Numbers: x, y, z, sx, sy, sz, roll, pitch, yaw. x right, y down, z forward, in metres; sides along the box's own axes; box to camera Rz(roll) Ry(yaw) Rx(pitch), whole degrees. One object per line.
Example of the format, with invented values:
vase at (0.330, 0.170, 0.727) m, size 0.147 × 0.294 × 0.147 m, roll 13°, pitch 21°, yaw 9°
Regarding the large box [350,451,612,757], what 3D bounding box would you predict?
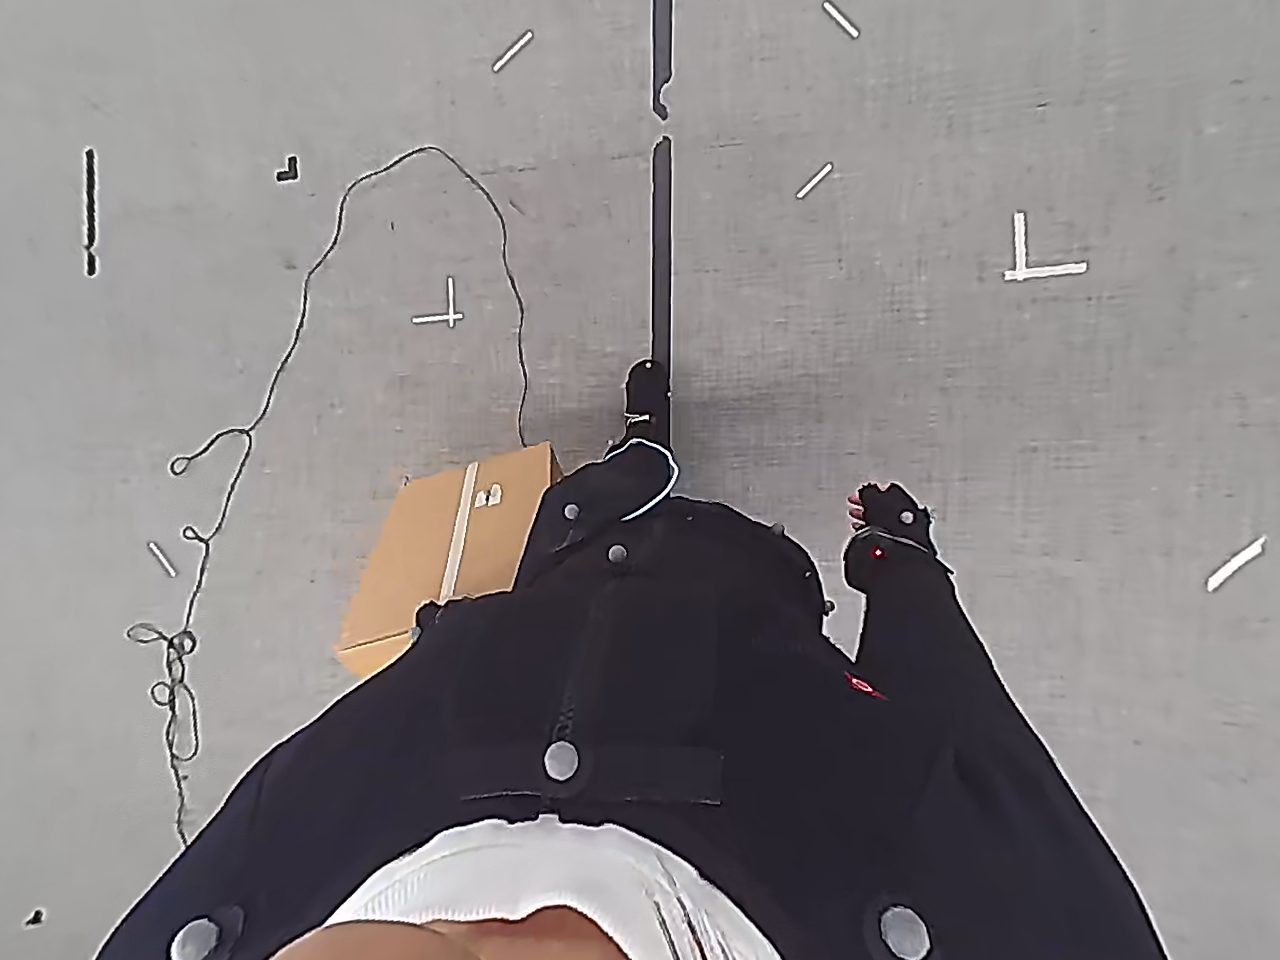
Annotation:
large box at (-0.255, 0.210, 0.994) m, size 0.320 × 0.408 × 0.320 m, roll -15°, pitch 124°, yaw 1°
